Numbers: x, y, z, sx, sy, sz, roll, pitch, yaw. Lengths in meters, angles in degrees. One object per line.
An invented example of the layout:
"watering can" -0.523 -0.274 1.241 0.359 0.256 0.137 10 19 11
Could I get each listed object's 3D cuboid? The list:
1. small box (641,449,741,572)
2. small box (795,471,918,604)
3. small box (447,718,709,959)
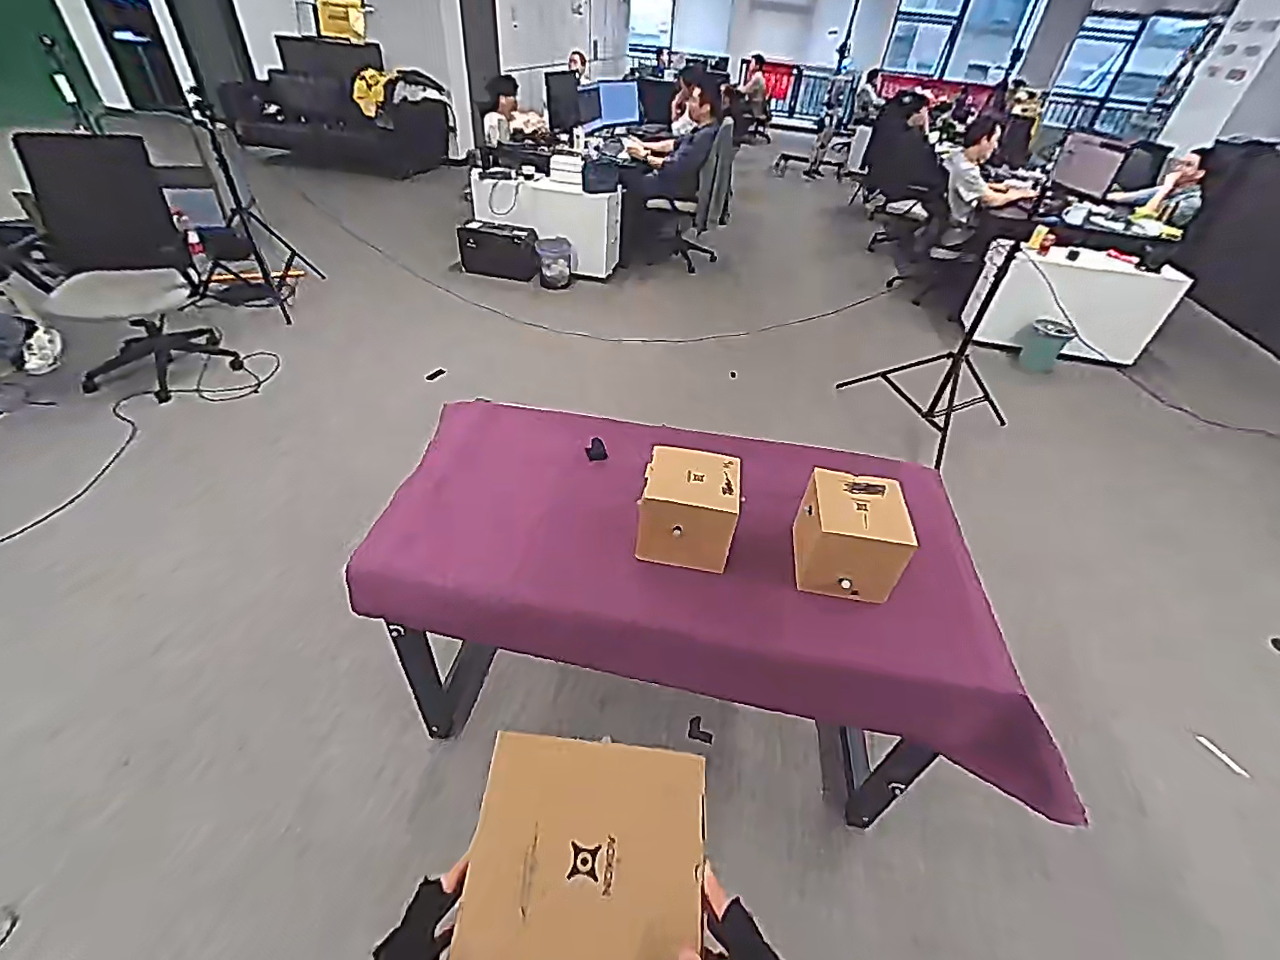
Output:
"small box" 0.099 0.062 1.072 0.179 0.176 0.168 8 40 5
"small box" 0.404 0.110 1.046 0.168 0.176 0.179 8 40 5
"small box" -0.045 0.321 0.462 0.179 0.176 0.168 7 50 -3
